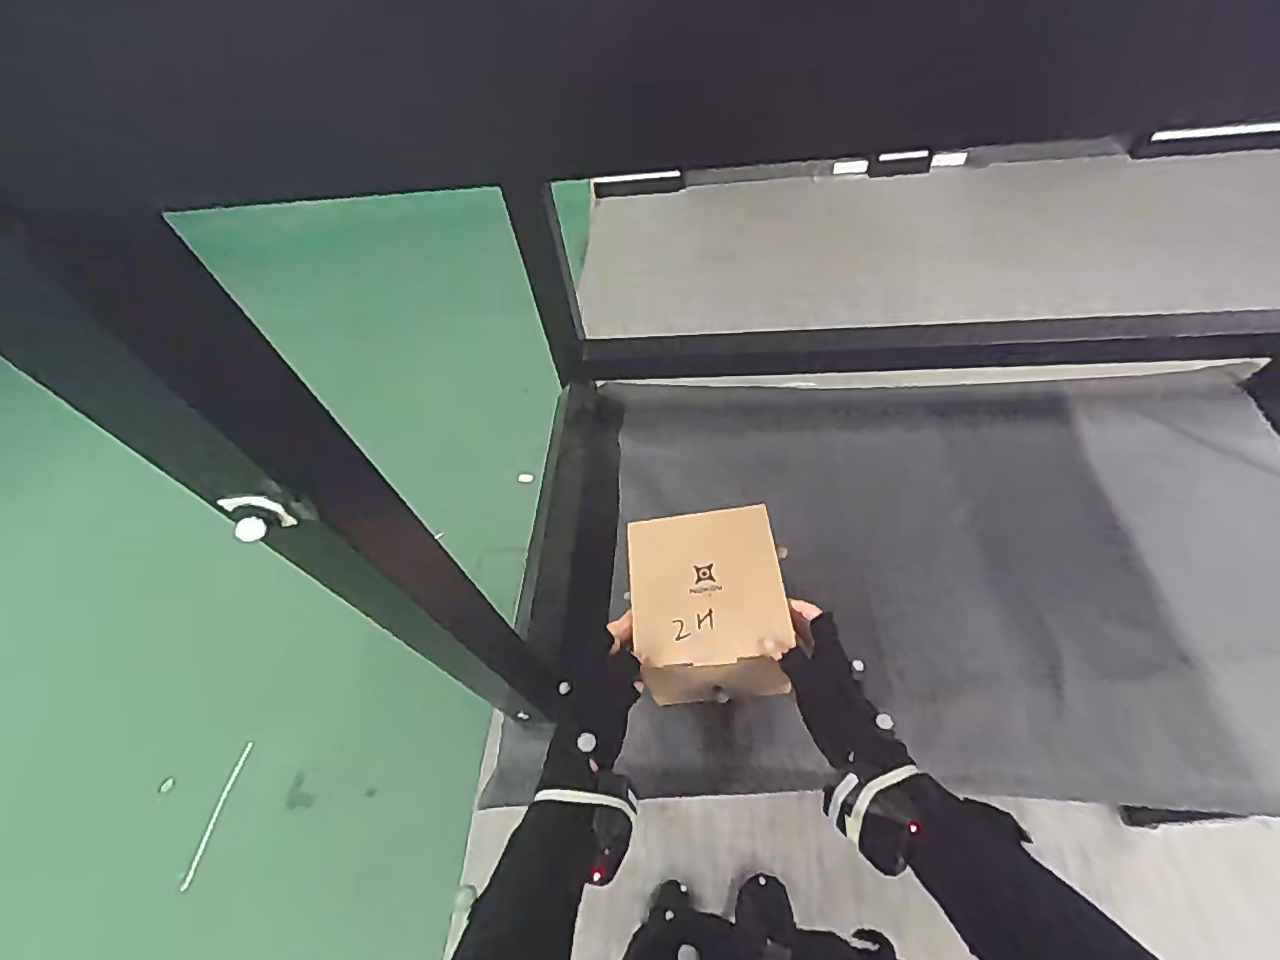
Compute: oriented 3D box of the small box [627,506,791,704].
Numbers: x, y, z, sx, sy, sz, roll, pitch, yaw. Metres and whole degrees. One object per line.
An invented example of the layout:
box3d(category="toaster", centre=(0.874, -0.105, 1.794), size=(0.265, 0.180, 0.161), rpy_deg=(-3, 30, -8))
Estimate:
box3d(category="small box", centre=(0.079, 0.155, 0.652), size=(0.168, 0.176, 0.179), rpy_deg=(-8, 54, 7))
